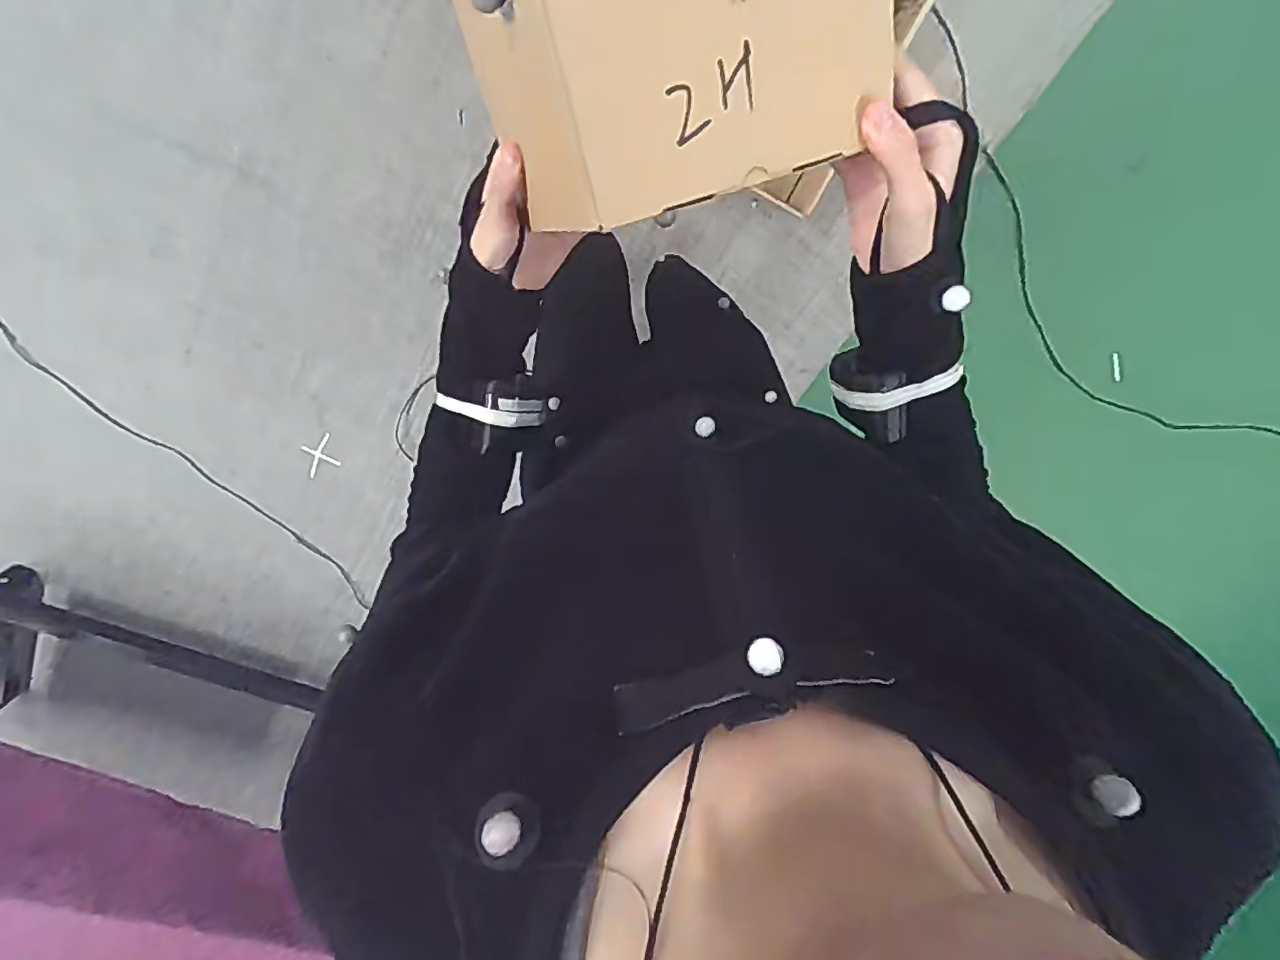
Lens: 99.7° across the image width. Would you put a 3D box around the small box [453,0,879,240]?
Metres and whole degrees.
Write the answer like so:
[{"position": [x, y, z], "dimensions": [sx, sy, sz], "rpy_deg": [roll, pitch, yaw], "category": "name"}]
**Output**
[{"position": [0.001, -0.250, 0.299], "dimensions": [0.168, 0.176, 0.179], "rpy_deg": [-26, 121, -8], "category": "small box"}]
